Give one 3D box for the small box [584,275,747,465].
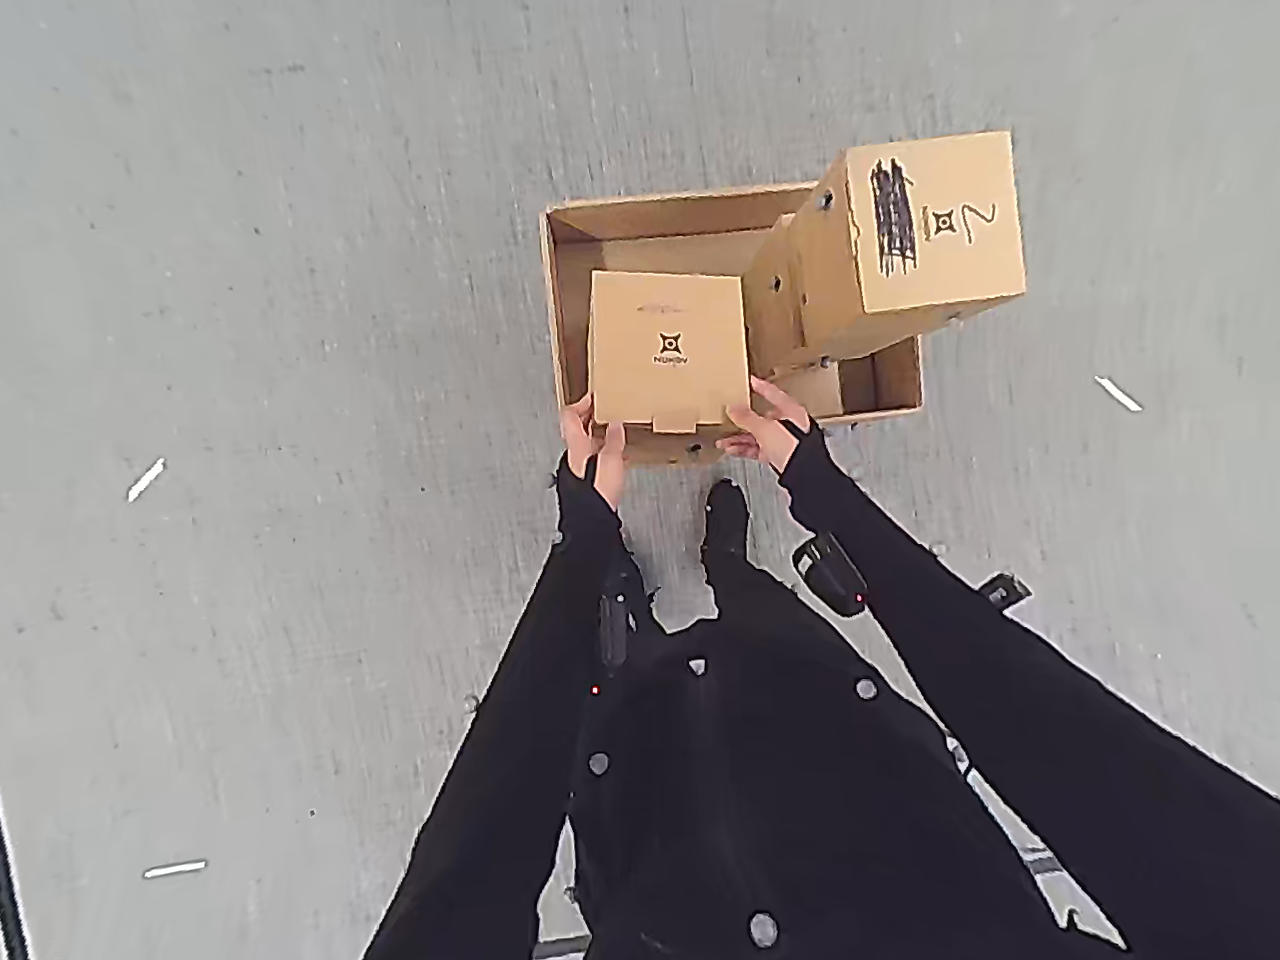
[{"bbox_3d":[0.019,-0.116,0.641,0.168,0.176,0.179,0,78,-7],"label":"small box"}]
